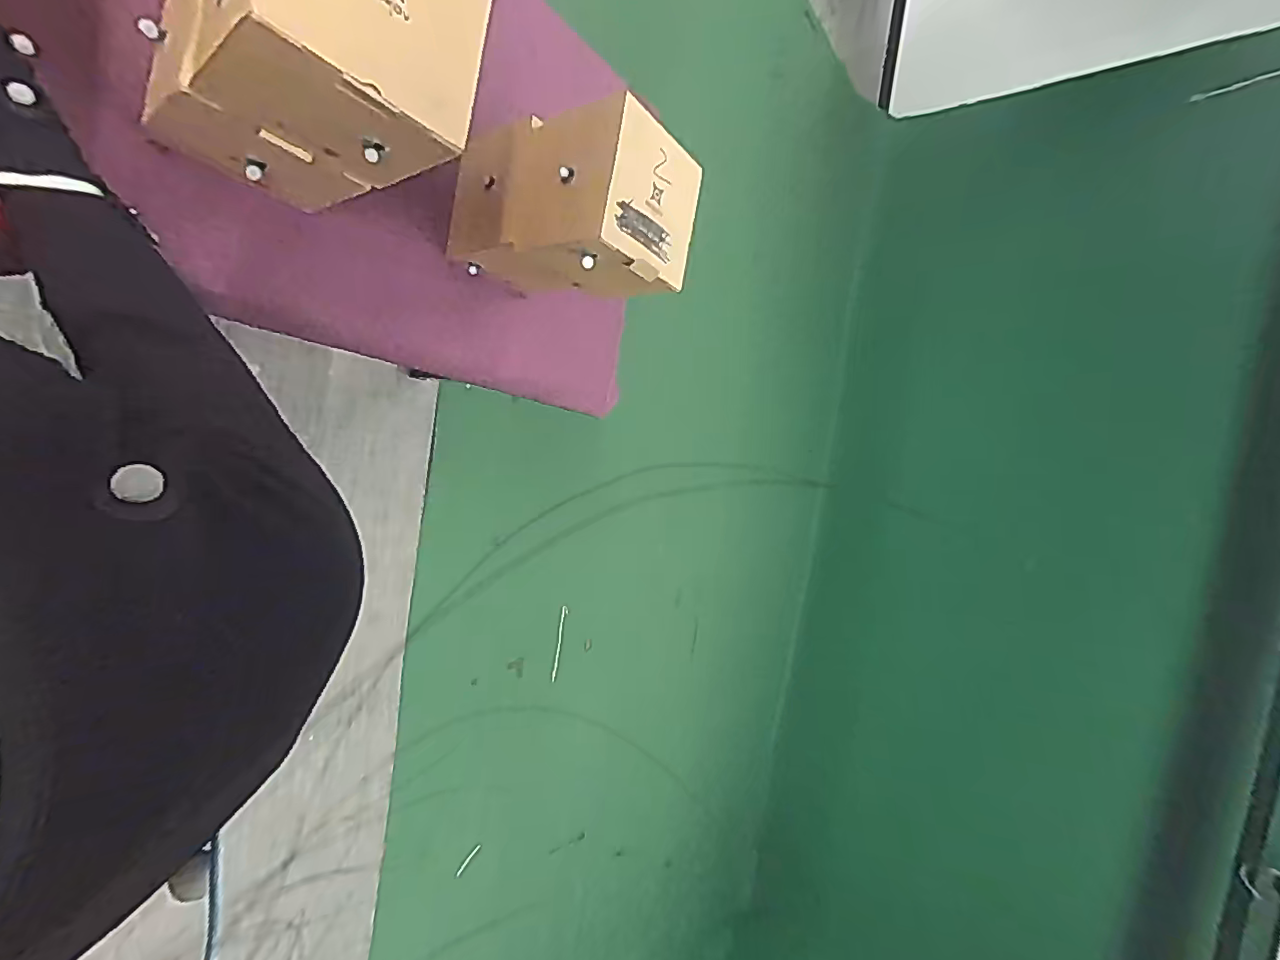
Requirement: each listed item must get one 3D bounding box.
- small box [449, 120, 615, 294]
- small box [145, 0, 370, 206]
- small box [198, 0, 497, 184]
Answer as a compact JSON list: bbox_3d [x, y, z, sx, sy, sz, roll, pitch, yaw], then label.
[{"bbox_3d":[-0.167,-0.399,0.829,0.168,0.176,0.179,13,90,-53],"label":"small box"},{"bbox_3d":[-0.382,-0.414,0.563,0.168,0.176,0.179,11,91,-52],"label":"small box"},{"bbox_3d":[-0.252,-0.389,0.467,0.168,0.176,0.179,10,91,-52],"label":"small box"}]
